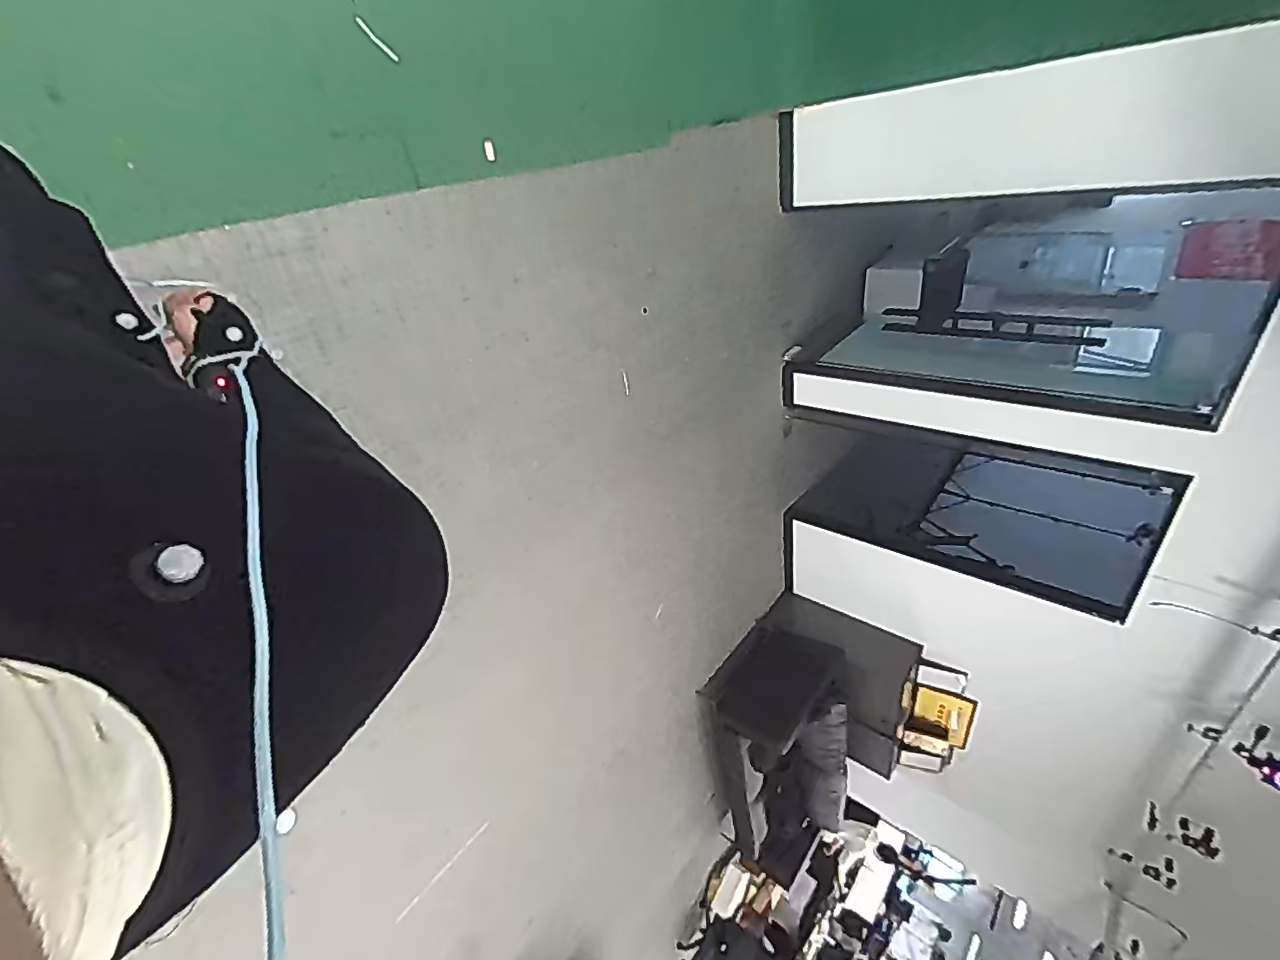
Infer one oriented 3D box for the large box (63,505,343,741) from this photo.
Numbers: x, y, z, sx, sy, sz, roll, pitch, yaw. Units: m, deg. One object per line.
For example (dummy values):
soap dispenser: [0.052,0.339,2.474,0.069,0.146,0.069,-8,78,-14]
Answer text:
large box: [-1.044,0.321,1.321,0.408,0.320,0.320,-39,132,-35]
